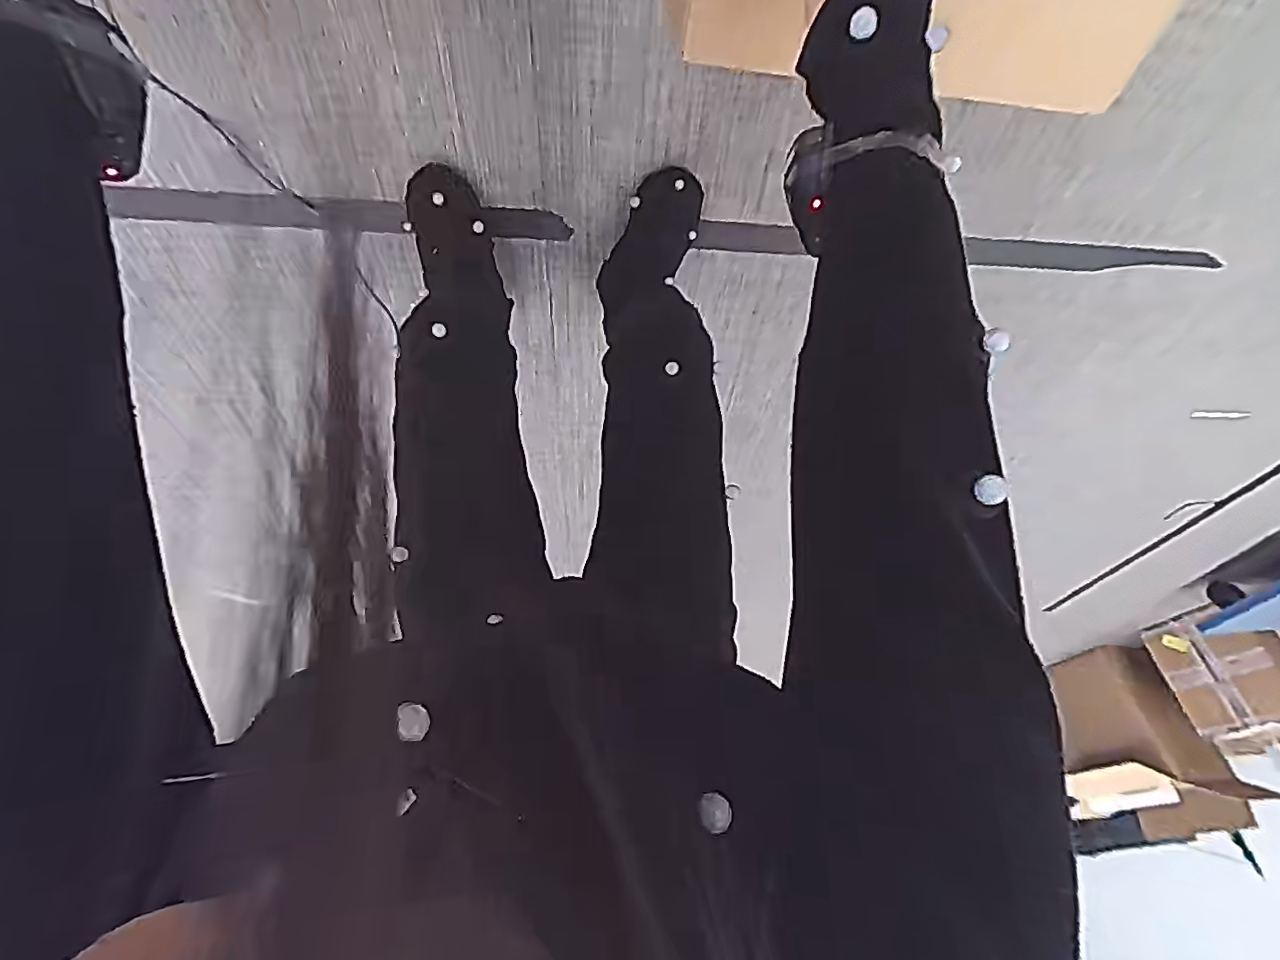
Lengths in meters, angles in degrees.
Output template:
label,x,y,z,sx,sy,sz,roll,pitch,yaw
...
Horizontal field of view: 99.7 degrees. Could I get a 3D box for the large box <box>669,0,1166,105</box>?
label,x,y,z,sx,sy,sz,roll,pitch,yaw
large box,0.243,-0.570,0.461,0.408,0.320,0.320,1,143,-9
